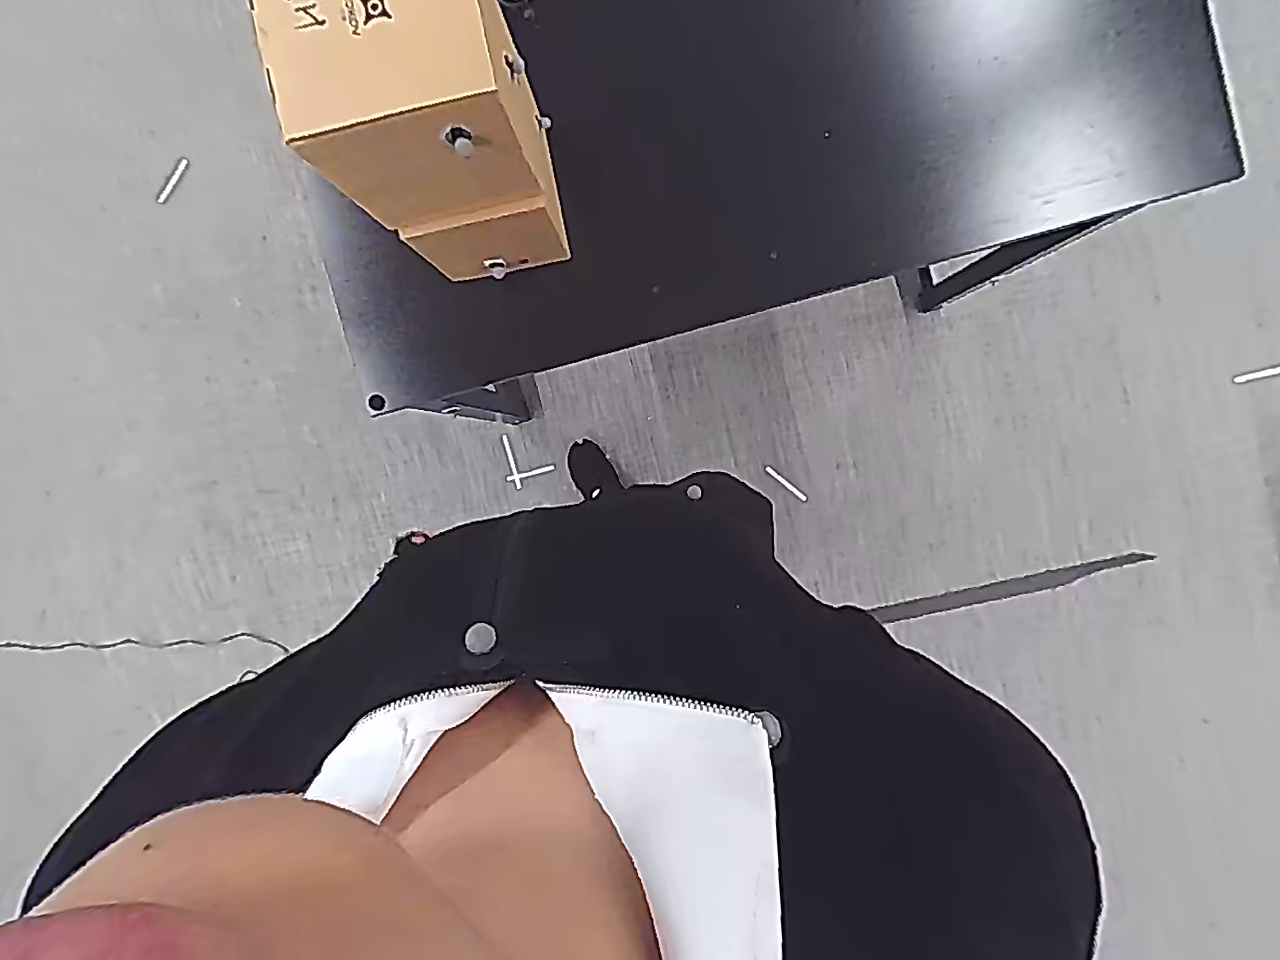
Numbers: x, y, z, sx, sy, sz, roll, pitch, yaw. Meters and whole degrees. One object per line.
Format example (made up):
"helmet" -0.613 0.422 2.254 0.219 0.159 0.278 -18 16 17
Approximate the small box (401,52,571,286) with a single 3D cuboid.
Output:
"small box" -0.190 -0.361 0.660 0.168 0.176 0.179 -11 93 3

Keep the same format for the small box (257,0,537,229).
"small box" -0.202 -0.358 0.495 0.179 0.176 0.168 -11 92 3
